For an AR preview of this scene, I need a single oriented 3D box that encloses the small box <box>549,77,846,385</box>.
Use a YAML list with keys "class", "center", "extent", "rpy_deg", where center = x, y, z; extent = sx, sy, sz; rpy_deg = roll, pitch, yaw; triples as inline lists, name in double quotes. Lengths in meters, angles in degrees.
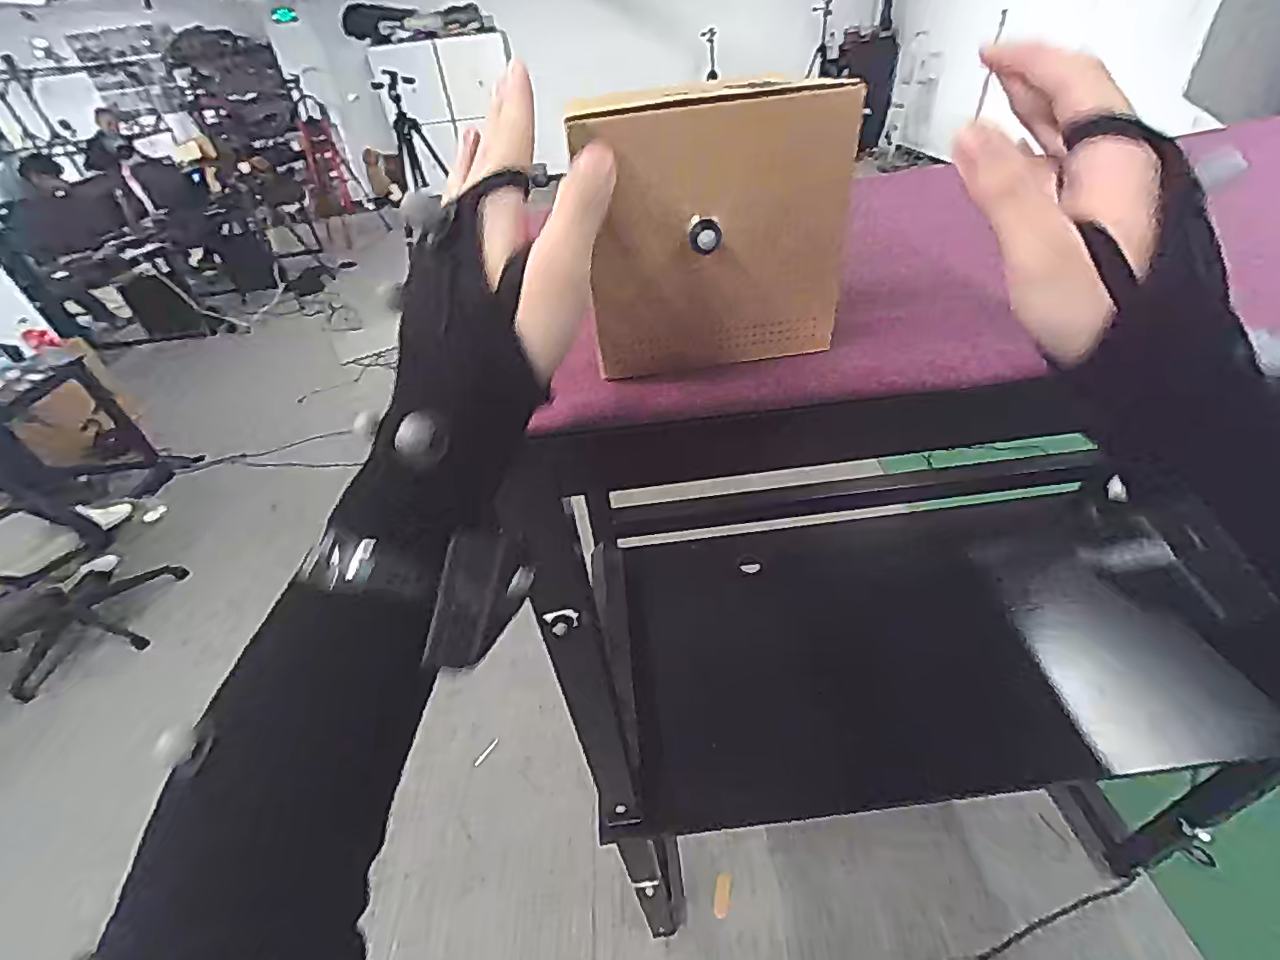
- class: "small box"
  center: [0.035, -0.193, 0.420]
  extent: [0.179, 0.176, 0.168]
  rpy_deg: [-9, 38, 0]
